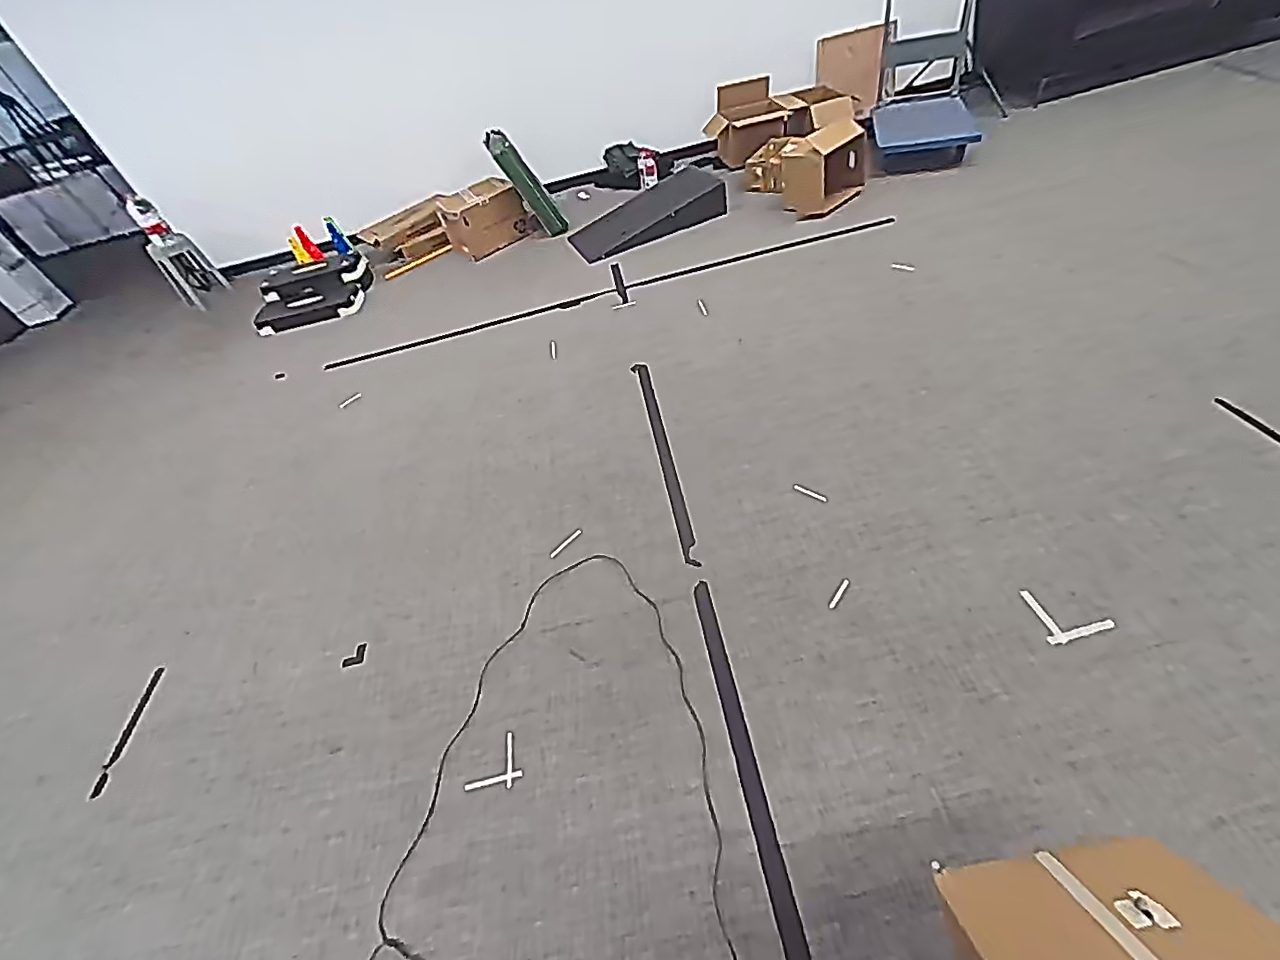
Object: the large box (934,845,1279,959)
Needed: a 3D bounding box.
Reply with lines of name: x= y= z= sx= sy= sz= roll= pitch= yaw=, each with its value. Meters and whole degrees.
large box: x=0.598 y=0.690 z=0.580 sx=0.320 sy=0.408 sz=0.320 roll=-13 pitch=84 yaw=5
